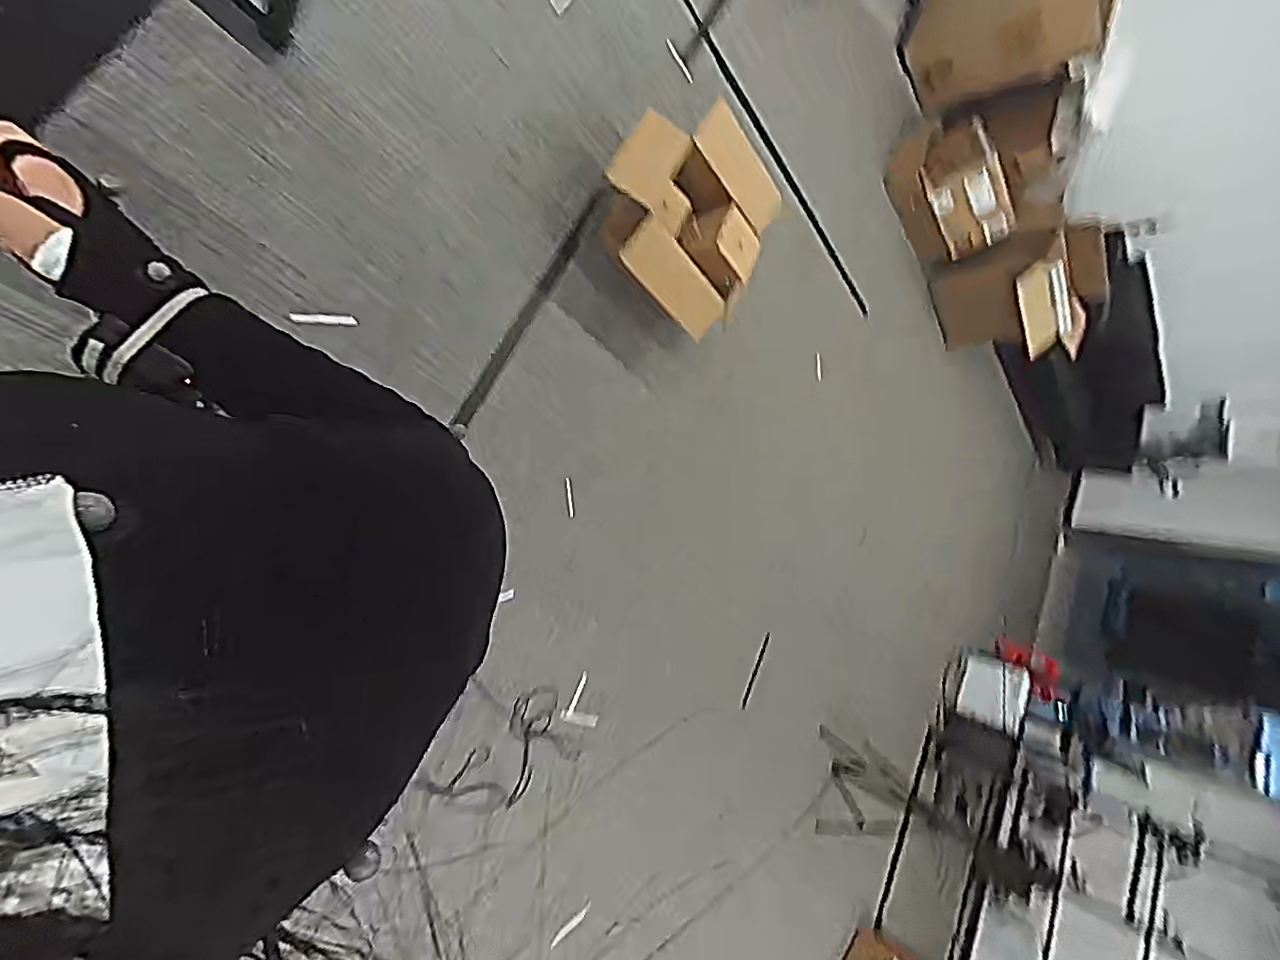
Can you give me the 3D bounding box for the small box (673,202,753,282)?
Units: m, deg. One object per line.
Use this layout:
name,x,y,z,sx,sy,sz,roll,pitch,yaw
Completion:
small box,0.242,-0.779,1.795,0.179,0.176,0.168,34,73,-39
